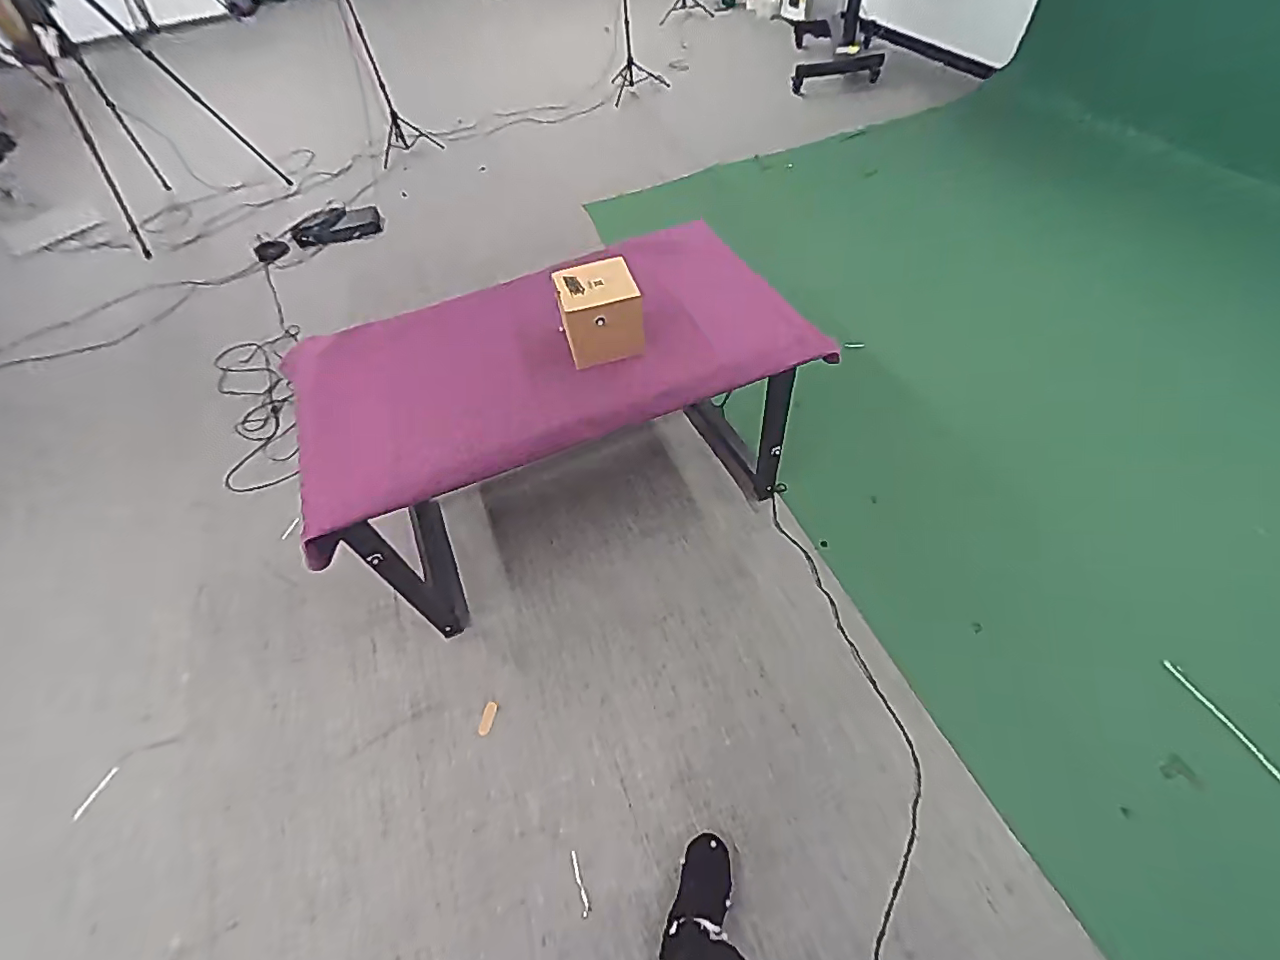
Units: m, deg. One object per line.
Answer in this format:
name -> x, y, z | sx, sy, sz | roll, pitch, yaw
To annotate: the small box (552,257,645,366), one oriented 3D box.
small box -> -0.095, -0.395, 1.282 | 0.179, 0.176, 0.168 | -15, 54, -6
